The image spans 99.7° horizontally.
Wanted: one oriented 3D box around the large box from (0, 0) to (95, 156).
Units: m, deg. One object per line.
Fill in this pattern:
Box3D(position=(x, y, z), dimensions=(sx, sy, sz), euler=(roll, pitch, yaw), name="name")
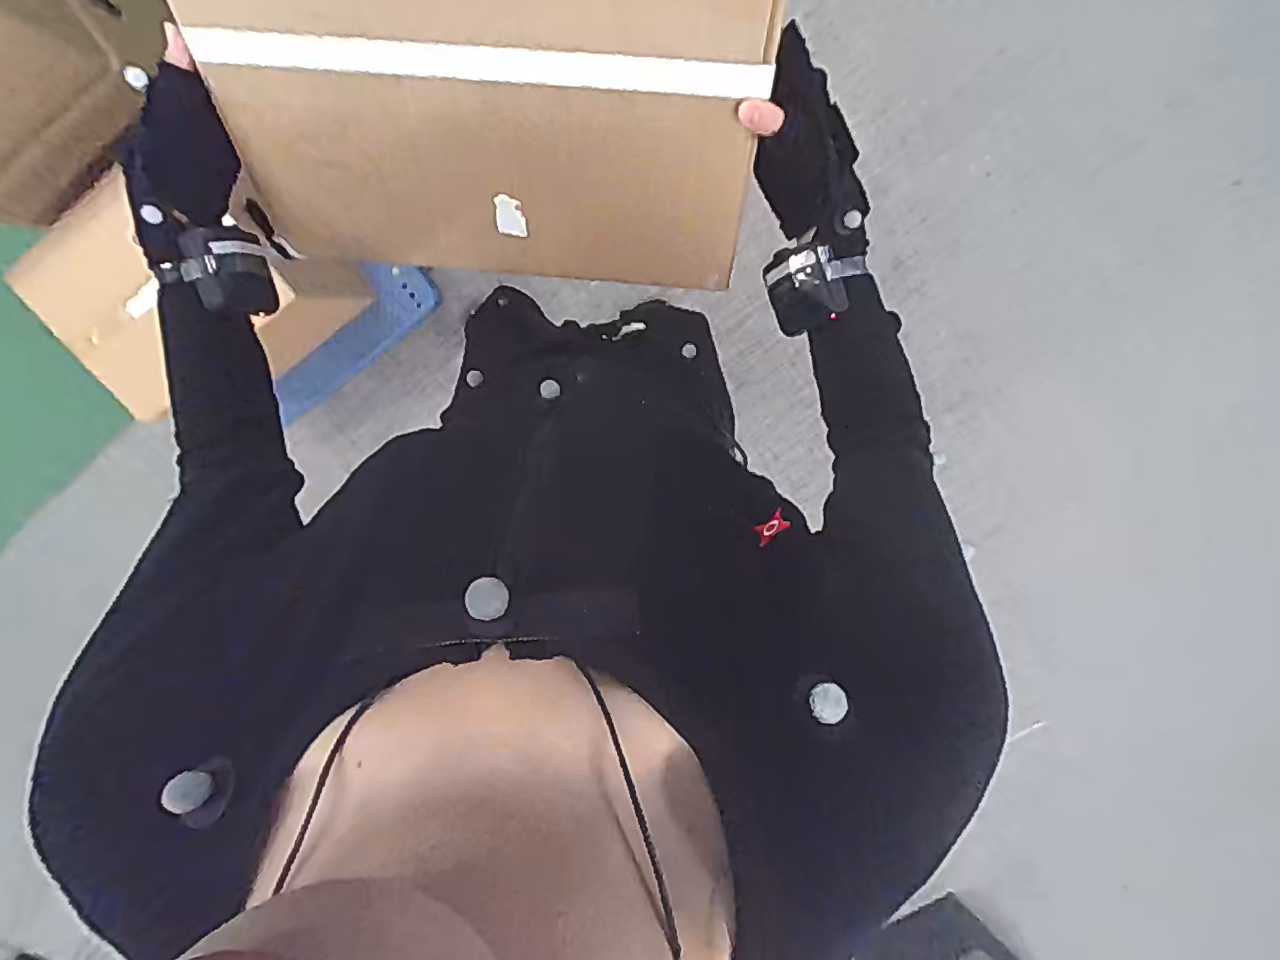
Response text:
Box3D(position=(-1.044, -0.606, 0.659), dimensions=(0.408, 0.320, 0.320), euler=(-30, 104, 12), name="large box")
